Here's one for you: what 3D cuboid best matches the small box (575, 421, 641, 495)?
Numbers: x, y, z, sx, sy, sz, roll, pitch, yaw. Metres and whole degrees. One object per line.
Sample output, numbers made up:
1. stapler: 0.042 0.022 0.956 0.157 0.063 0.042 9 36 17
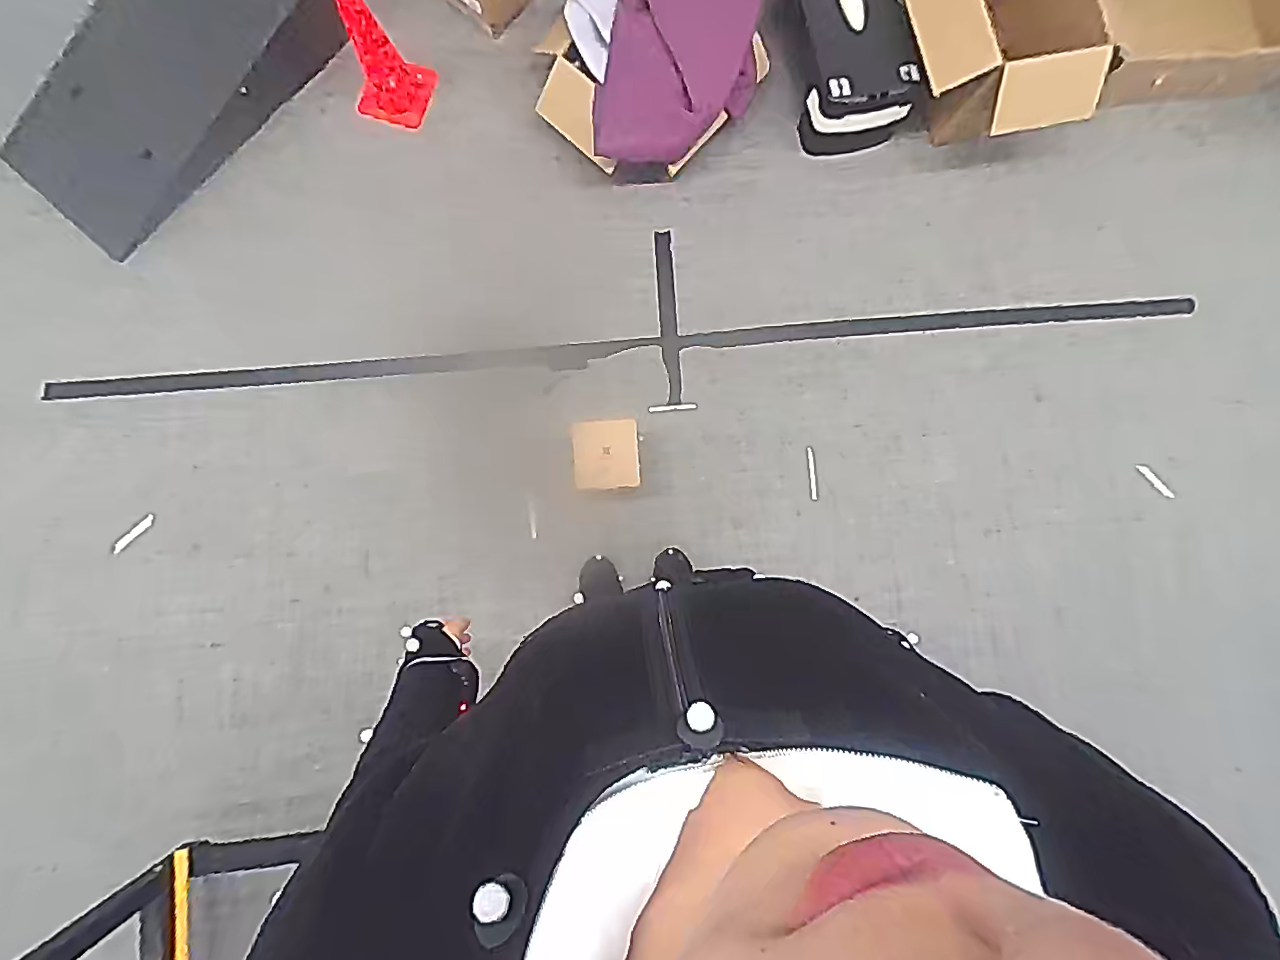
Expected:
1. small box: -0.086 -0.055 1.452 0.168 0.176 0.179 -3 85 -1
